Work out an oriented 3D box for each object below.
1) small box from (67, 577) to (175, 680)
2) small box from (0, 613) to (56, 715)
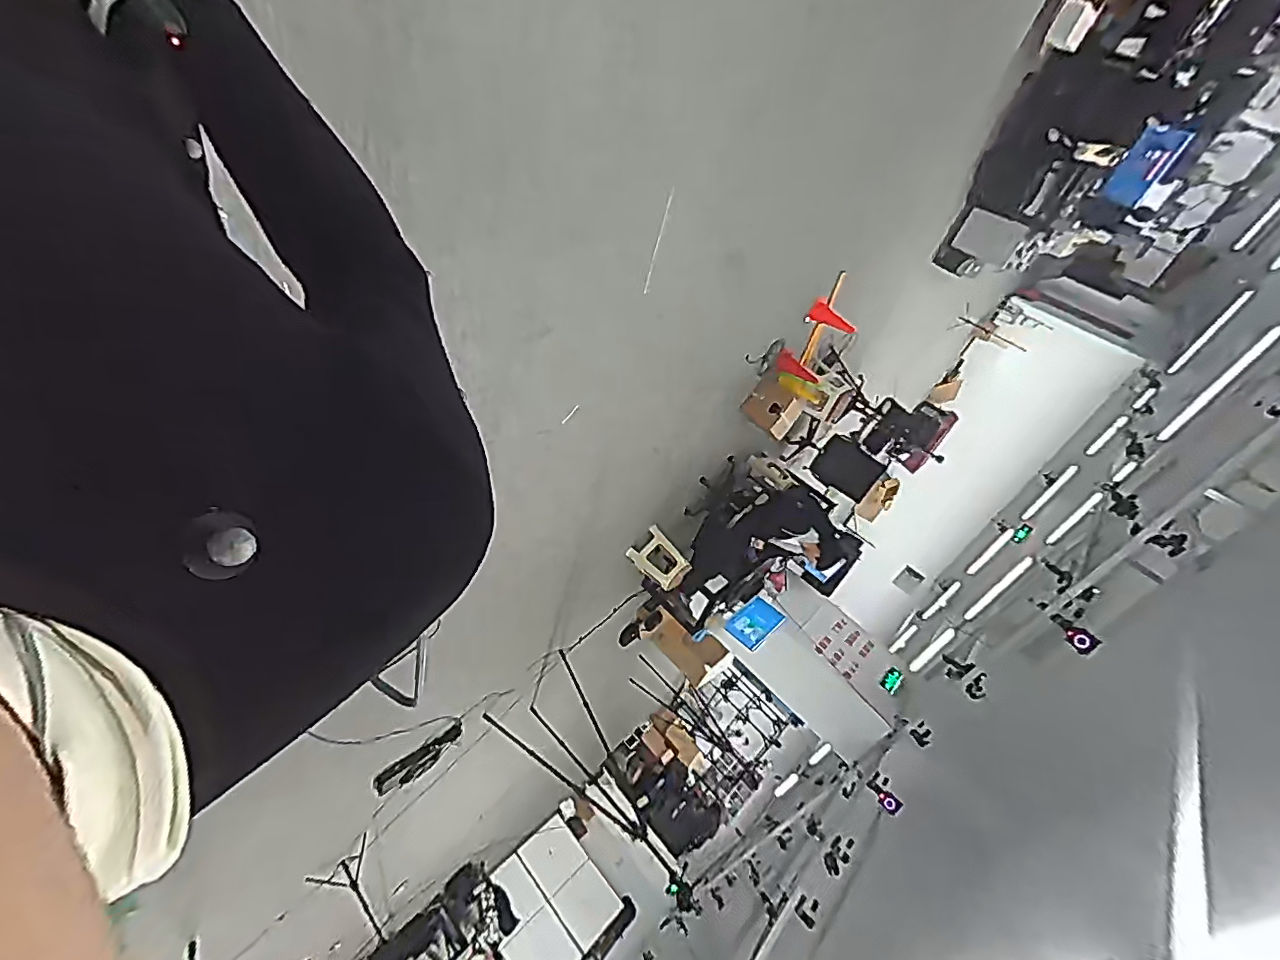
[{"bbox_3d":[-1.402,0.397,1.467,0.168,0.176,0.179,-23,144,-46],"label":"small box"},{"bbox_3d":[-1.555,0.449,1.281,0.179,0.176,0.168,-24,145,-45],"label":"small box"}]
